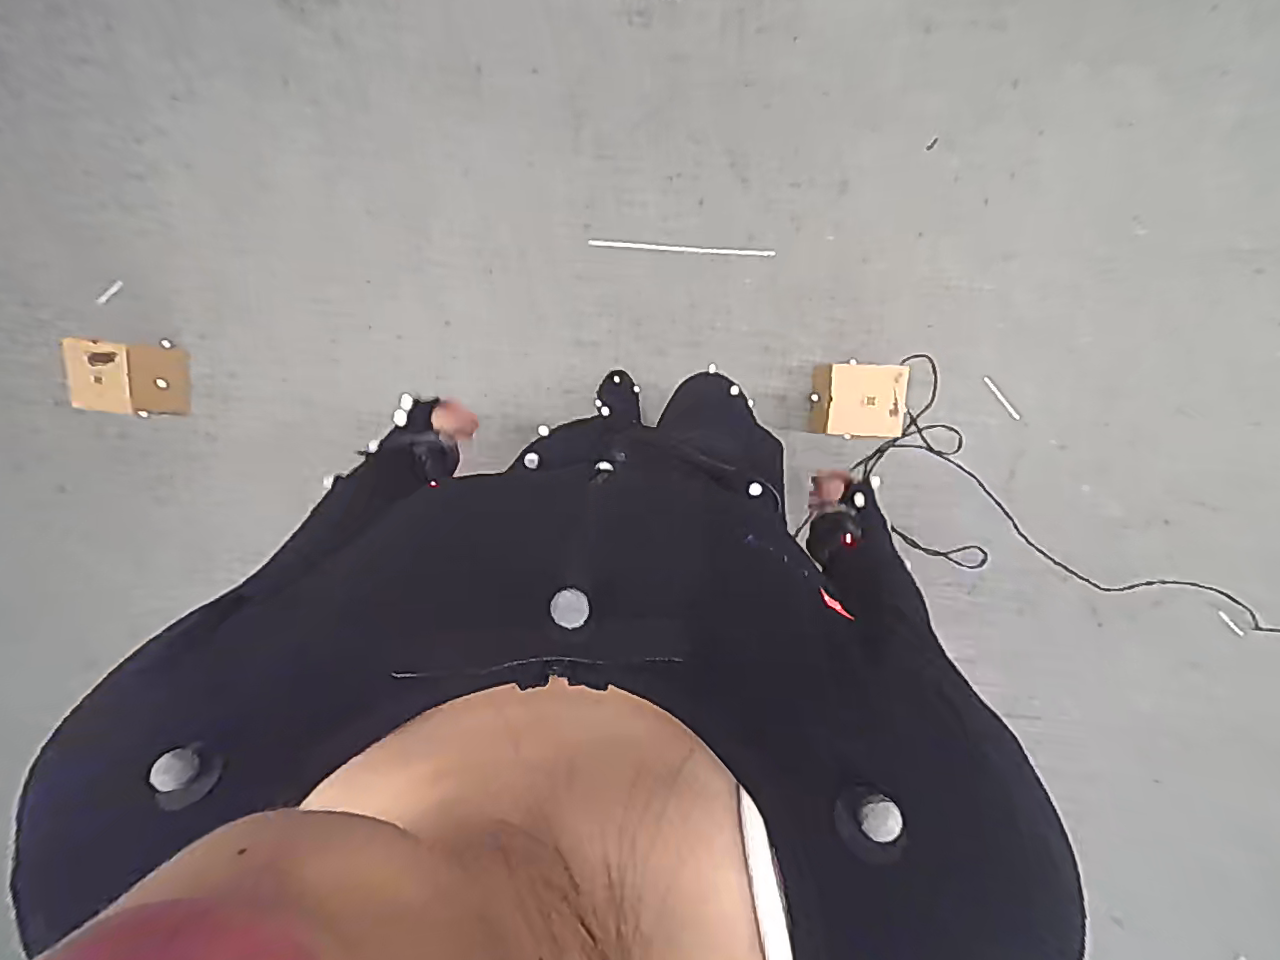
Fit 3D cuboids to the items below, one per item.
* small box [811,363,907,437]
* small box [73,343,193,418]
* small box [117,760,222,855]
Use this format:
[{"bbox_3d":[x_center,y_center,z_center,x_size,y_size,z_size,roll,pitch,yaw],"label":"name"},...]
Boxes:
[{"bbox_3d":[0.529,-0.197,1.332,0.179,0.176,0.168,3,100,4],"label":"small box"},{"bbox_3d":[-1.343,-0.264,1.443,0.168,0.176,0.179,6,100,2],"label":"small box"},{"bbox_3d":[-1.427,0.988,1.645,0.179,0.176,0.168,10,100,2],"label":"small box"}]
